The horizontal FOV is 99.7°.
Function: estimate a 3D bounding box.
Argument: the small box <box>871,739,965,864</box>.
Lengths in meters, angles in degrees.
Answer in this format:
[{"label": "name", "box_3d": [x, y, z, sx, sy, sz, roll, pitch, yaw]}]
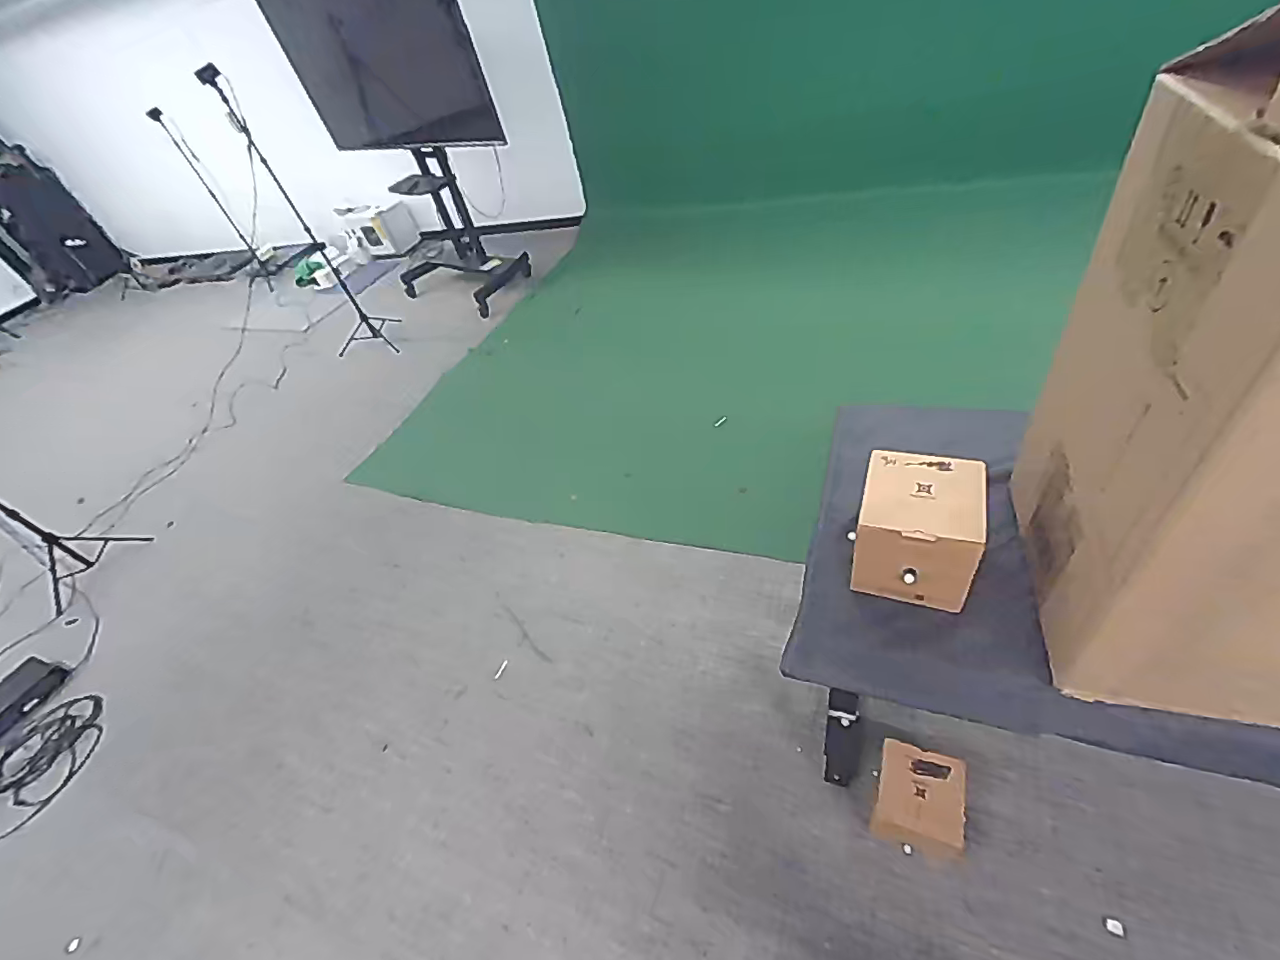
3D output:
[{"label": "small box", "box_3d": [0.628, 0.731, 1.231, 0.168, 0.176, 0.179, 9, 50, 26]}]
